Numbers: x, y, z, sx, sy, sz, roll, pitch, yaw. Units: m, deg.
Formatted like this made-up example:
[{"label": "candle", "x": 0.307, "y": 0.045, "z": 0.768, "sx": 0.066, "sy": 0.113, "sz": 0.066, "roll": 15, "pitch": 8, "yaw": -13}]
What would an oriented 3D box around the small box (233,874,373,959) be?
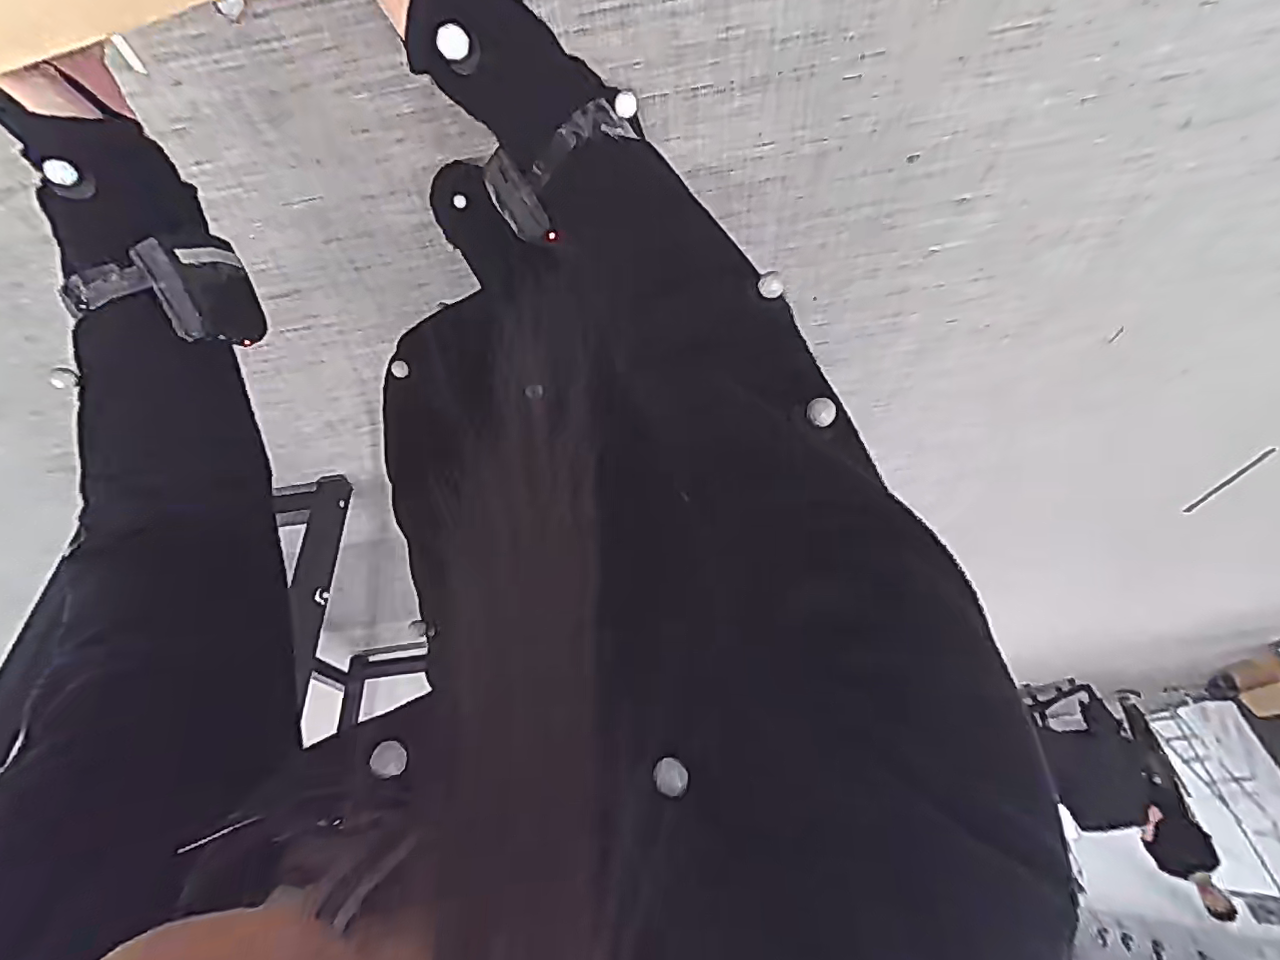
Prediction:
[{"label": "small box", "x": -0.629, "y": 0.856, "z": 1.014, "sx": 0.168, "sy": 0.176, "sz": 0.179, "roll": -8, "pitch": 146, "yaw": 0}]
